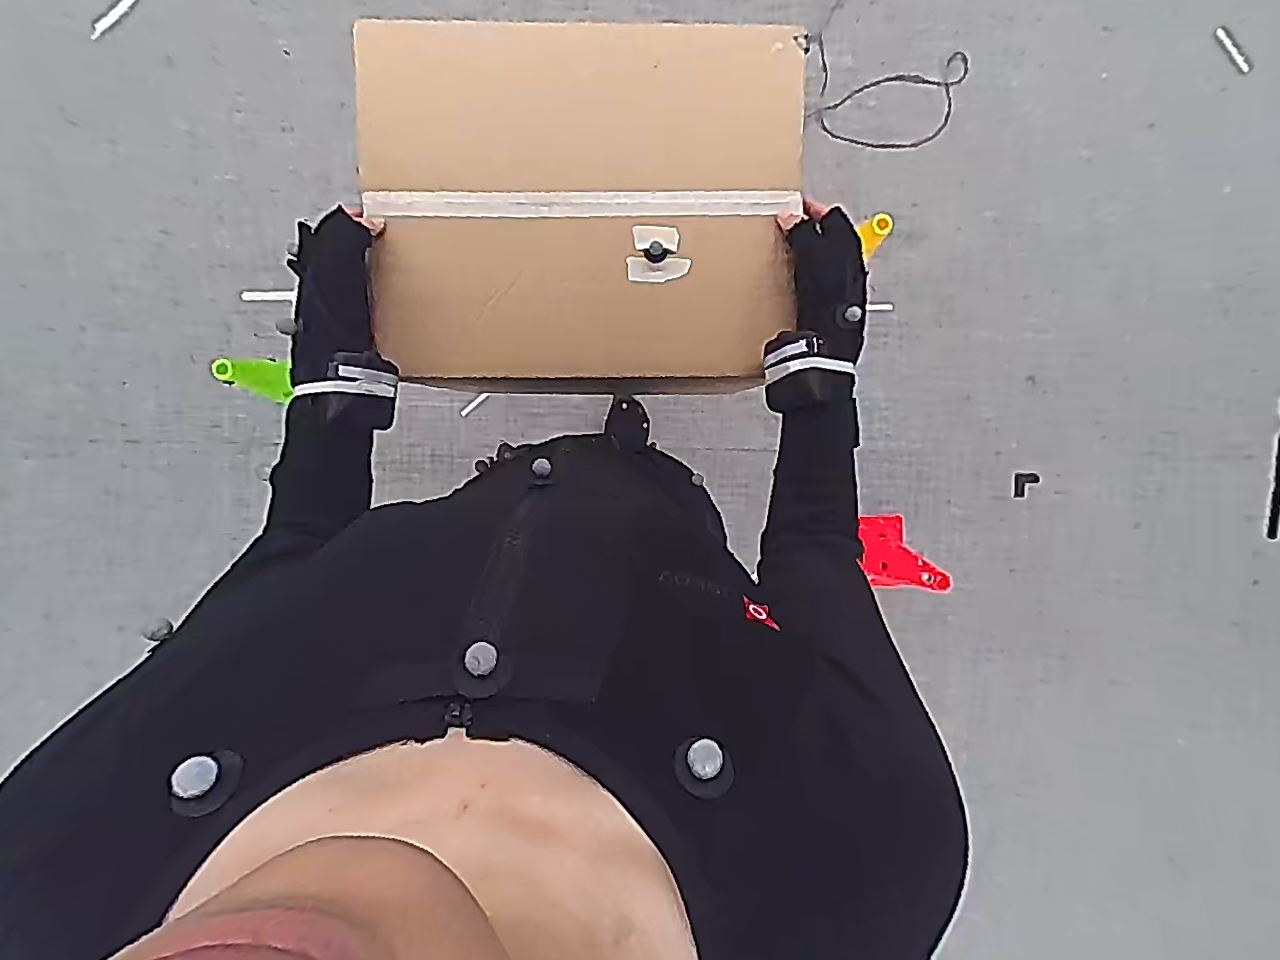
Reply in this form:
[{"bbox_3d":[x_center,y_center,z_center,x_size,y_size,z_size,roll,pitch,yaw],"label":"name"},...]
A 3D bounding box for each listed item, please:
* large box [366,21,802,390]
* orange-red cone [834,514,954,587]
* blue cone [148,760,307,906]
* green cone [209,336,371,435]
[{"bbox_3d":[-0.053,-0.278,0.653,0.408,0.320,0.320,-1,97,-2],"label":"large box"},{"bbox_3d":[0.638,0.200,1.316,0.198,0.360,0.199,-1,92,-2],"label":"orange-red cone"},{"bbox_3d":[-1.018,0.877,1.331,0.192,0.380,0.193,5,93,-1],"label":"blue cone"},{"bbox_3d":[-0.835,-0.237,1.252,0.202,0.368,0.200,-36,93,2],"label":"green cone"}]
